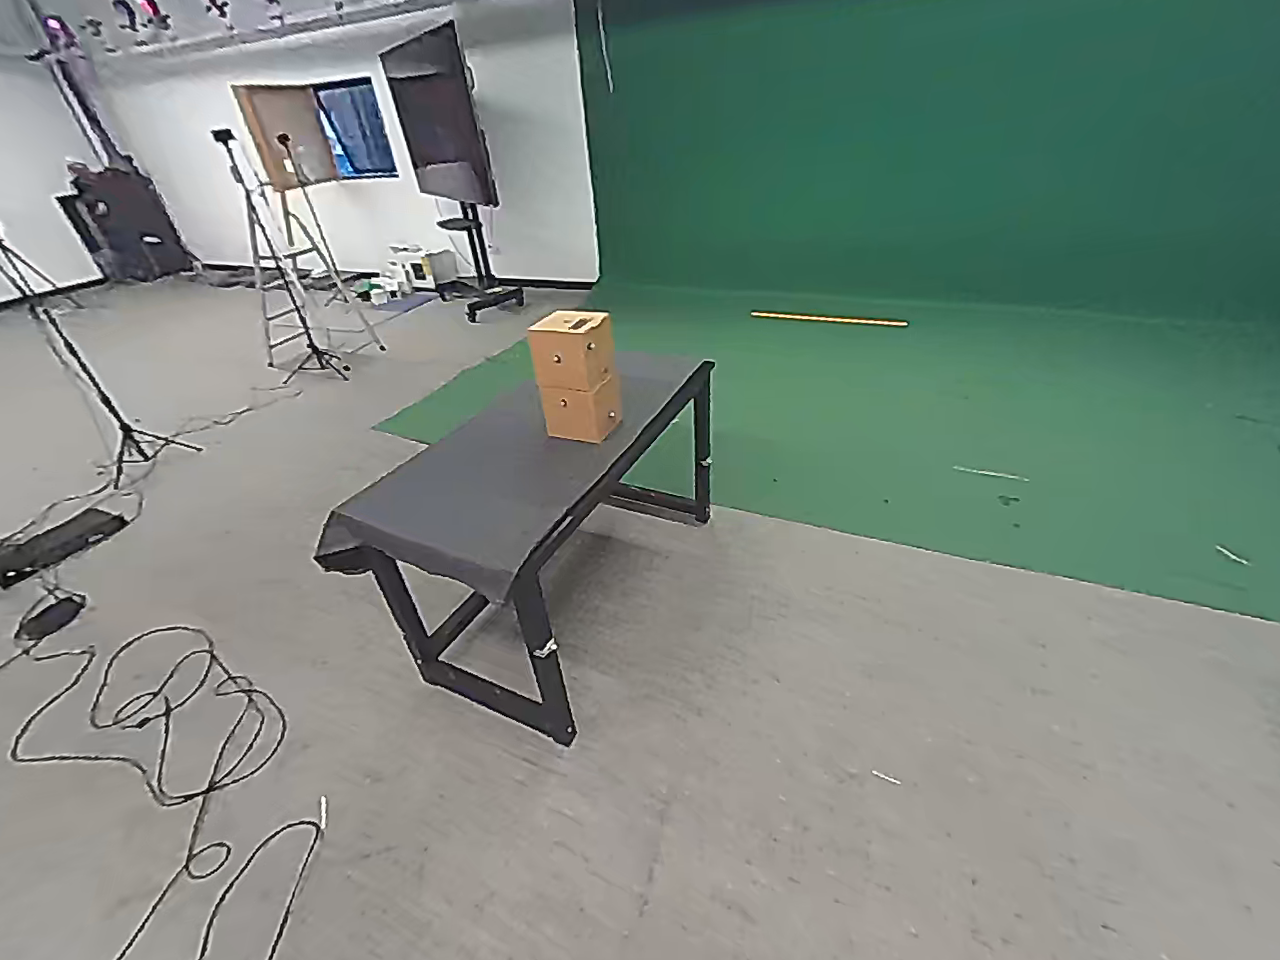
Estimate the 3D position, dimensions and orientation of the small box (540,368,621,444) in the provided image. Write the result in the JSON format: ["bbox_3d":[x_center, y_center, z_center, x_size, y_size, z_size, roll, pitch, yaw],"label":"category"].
[{"bbox_3d":[-0.171,-0.222,1.618,0.179,0.176,0.168,9,36,21],"label":"small box"}]
